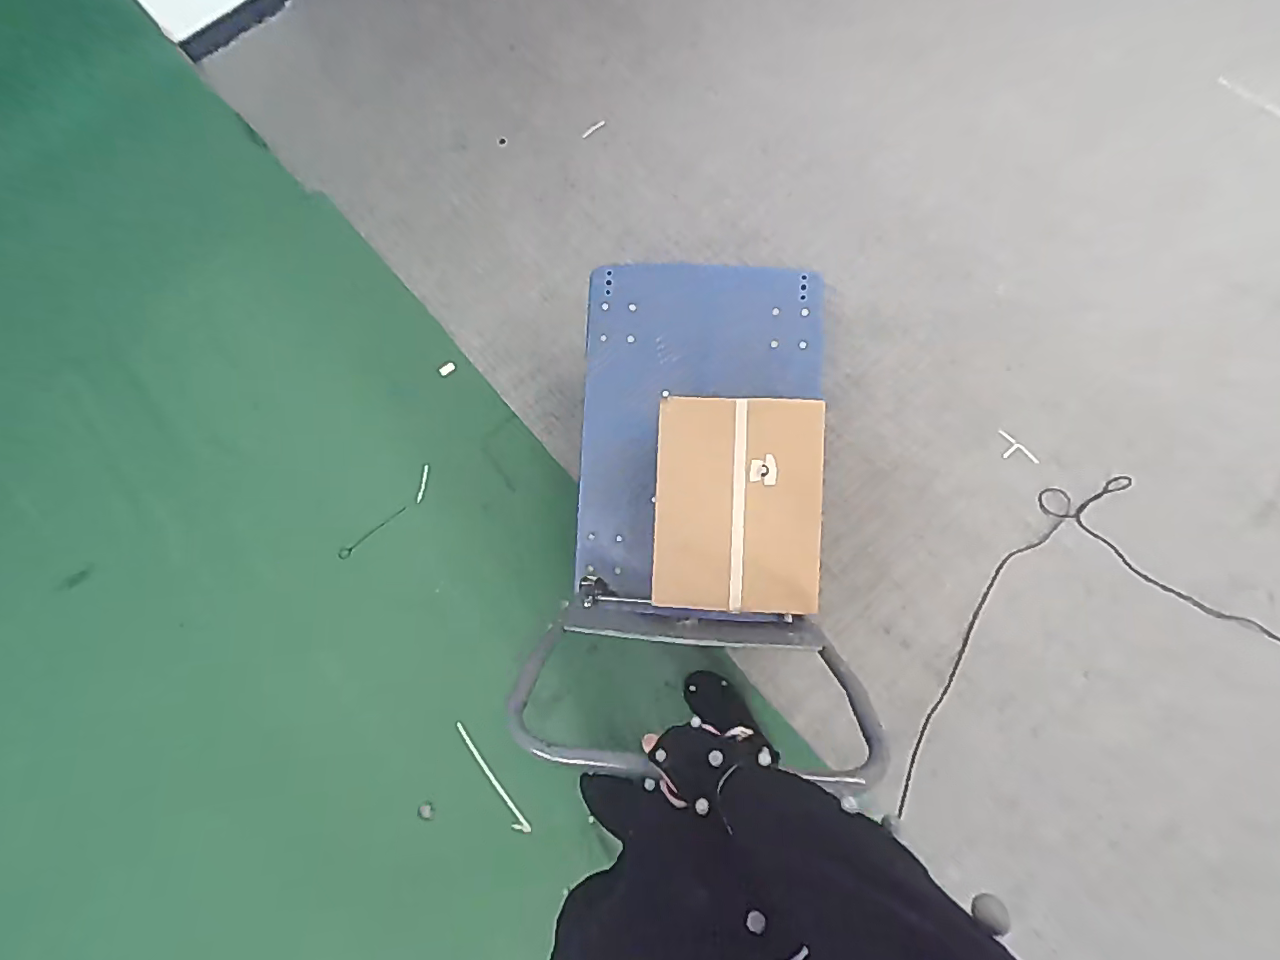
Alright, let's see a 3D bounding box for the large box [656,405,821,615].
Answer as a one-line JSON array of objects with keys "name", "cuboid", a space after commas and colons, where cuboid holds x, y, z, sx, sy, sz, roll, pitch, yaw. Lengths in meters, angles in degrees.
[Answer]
[{"name": "large box", "cuboid": [0.201, 0.062, 1.182, 0.320, 0.320, 0.408, 2, 88, 4]}]
